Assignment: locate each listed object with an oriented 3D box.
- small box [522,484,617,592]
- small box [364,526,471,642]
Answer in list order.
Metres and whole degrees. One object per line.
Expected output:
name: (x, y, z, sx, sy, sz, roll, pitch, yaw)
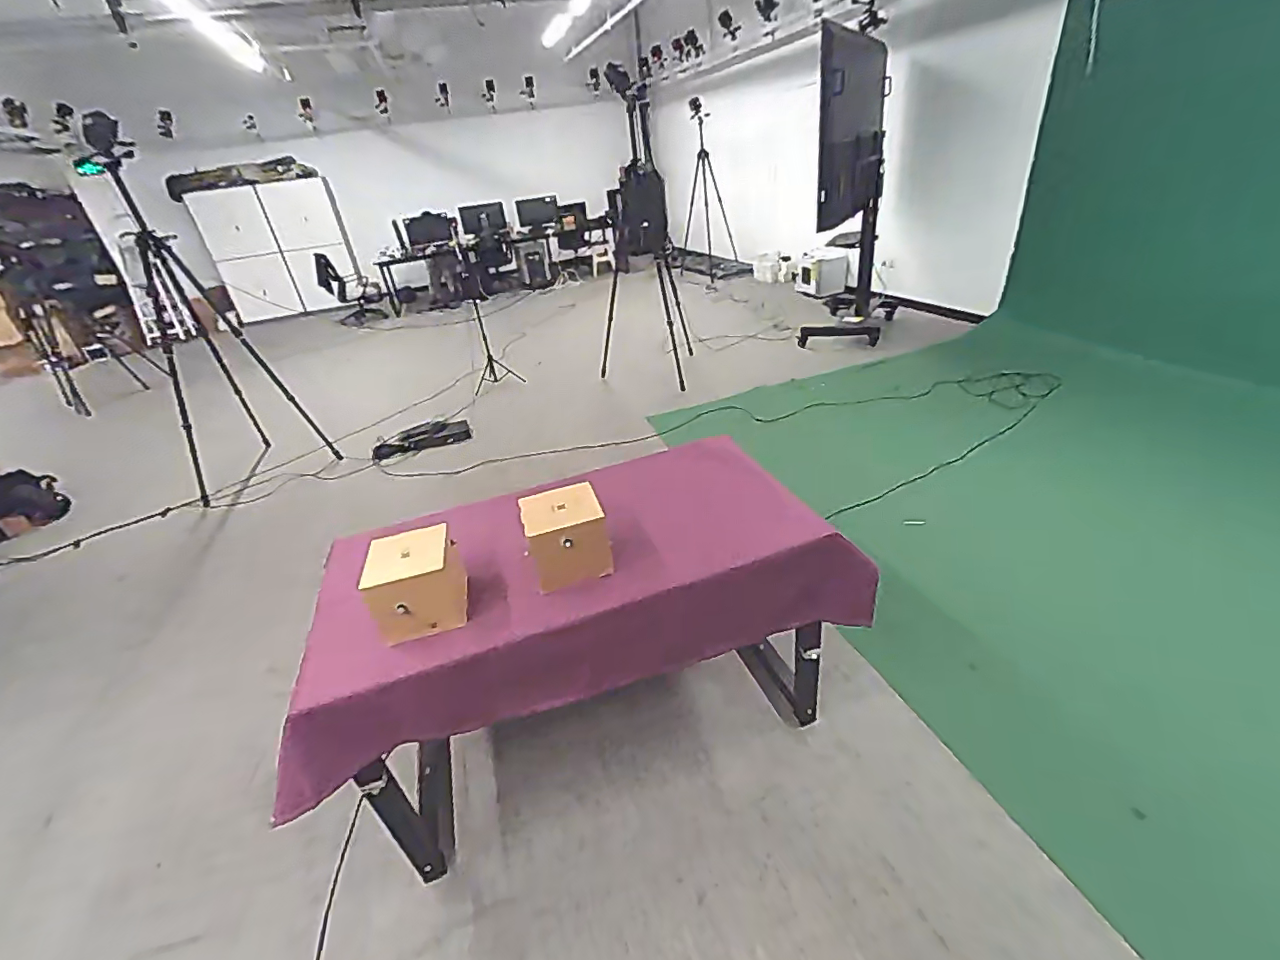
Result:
small box: (-0.165, 0.137, 1.264, 0.179, 0.176, 0.168, -15, 31, -11)
small box: (-0.475, 0.232, 1.186, 0.168, 0.176, 0.179, -14, 30, -9)
